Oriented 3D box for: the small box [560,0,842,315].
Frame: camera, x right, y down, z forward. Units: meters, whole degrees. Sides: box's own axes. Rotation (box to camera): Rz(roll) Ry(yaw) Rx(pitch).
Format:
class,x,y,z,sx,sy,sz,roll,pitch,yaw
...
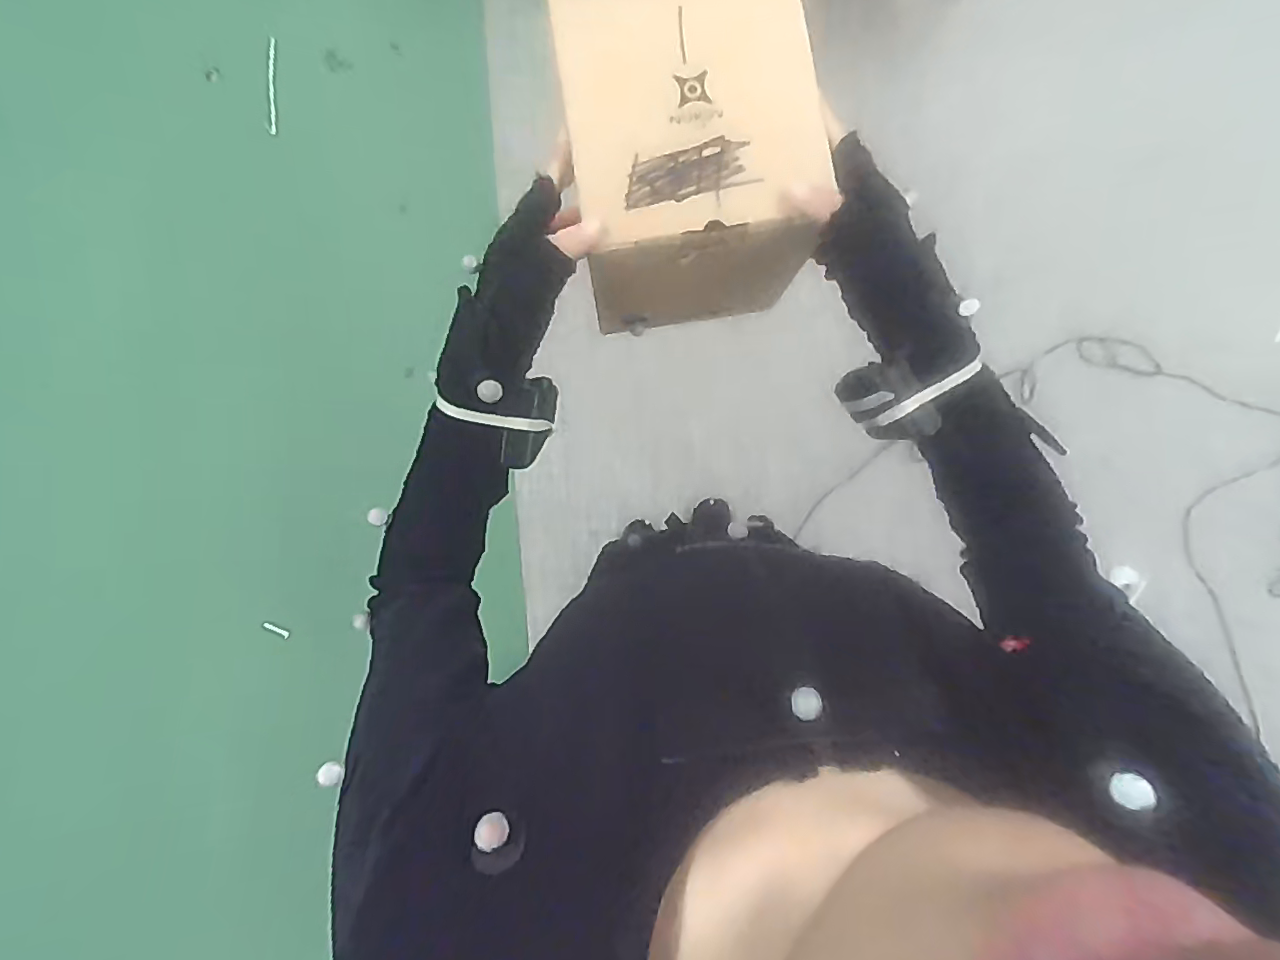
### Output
class,x,y,z,sx,sy,sz,roll,pitch,yaw
small box,0.038,-0.245,0.431,0.168,0.176,0.179,-9,86,-2
